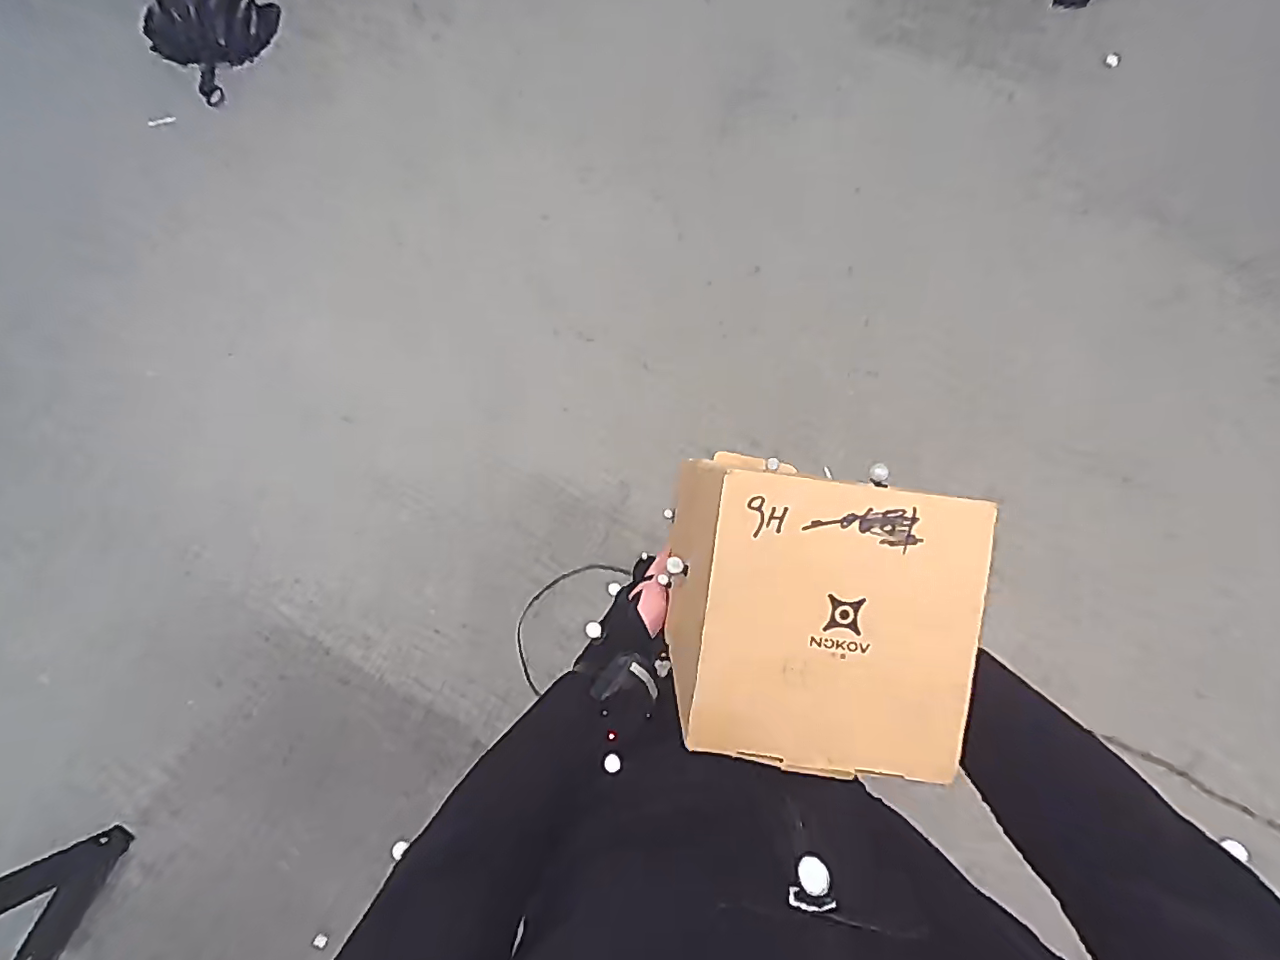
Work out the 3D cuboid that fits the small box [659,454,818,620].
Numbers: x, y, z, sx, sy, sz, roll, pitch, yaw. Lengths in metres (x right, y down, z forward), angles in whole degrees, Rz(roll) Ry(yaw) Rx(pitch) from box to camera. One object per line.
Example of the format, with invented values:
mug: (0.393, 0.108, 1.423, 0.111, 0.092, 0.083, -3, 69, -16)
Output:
small box: (0.119, 0.066, 0.721, 0.168, 0.176, 0.179, 10, 92, 1)
